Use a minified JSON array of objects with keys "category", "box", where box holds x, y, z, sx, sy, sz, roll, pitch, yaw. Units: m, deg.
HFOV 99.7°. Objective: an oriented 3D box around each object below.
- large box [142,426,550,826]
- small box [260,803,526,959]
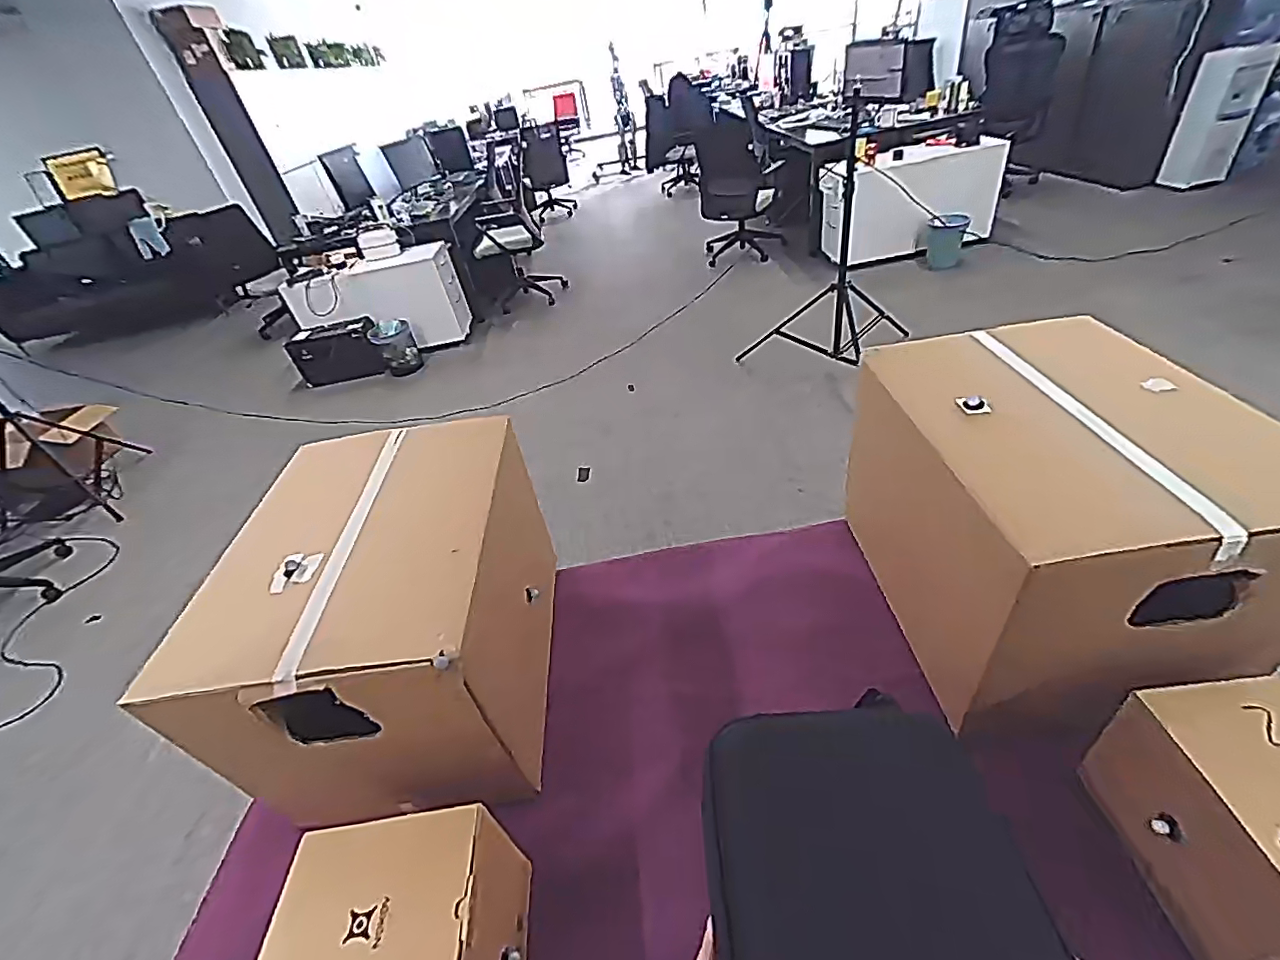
[{"category":"large box","box":[-0.309,0.181,0.737,0.320,0.320,0.408,-9,41,1]},{"category":"small box","box":[-0.221,0.439,0.508,0.179,0.176,0.168,-11,37,1]}]
